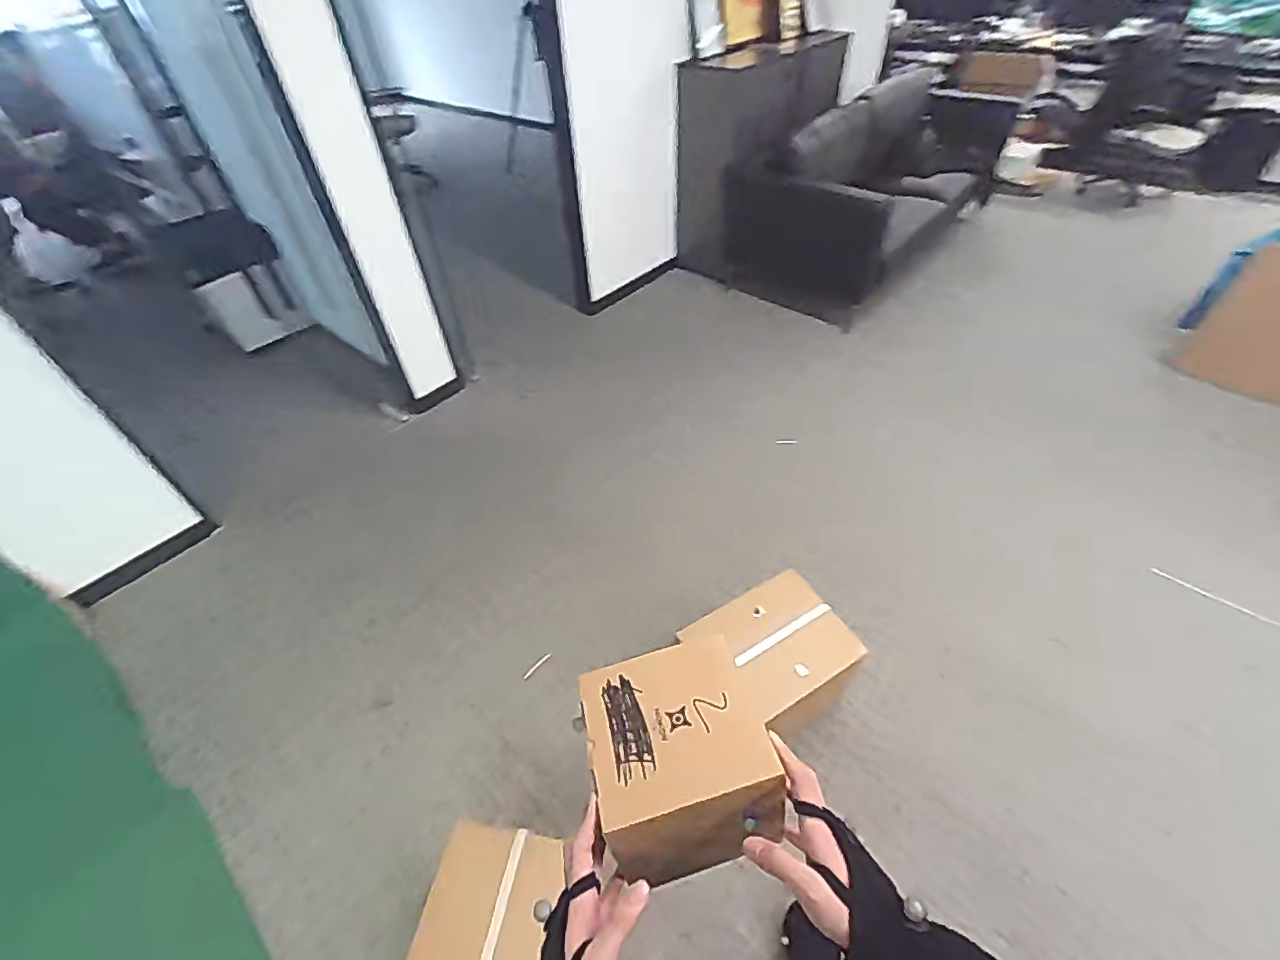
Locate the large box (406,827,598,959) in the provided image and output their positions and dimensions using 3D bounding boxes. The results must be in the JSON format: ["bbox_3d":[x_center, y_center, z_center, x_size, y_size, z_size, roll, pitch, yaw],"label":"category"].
[{"bbox_3d":[-0.282,0.999,1.114,0.320,0.320,0.408,5,47,8],"label":"large box"}]
